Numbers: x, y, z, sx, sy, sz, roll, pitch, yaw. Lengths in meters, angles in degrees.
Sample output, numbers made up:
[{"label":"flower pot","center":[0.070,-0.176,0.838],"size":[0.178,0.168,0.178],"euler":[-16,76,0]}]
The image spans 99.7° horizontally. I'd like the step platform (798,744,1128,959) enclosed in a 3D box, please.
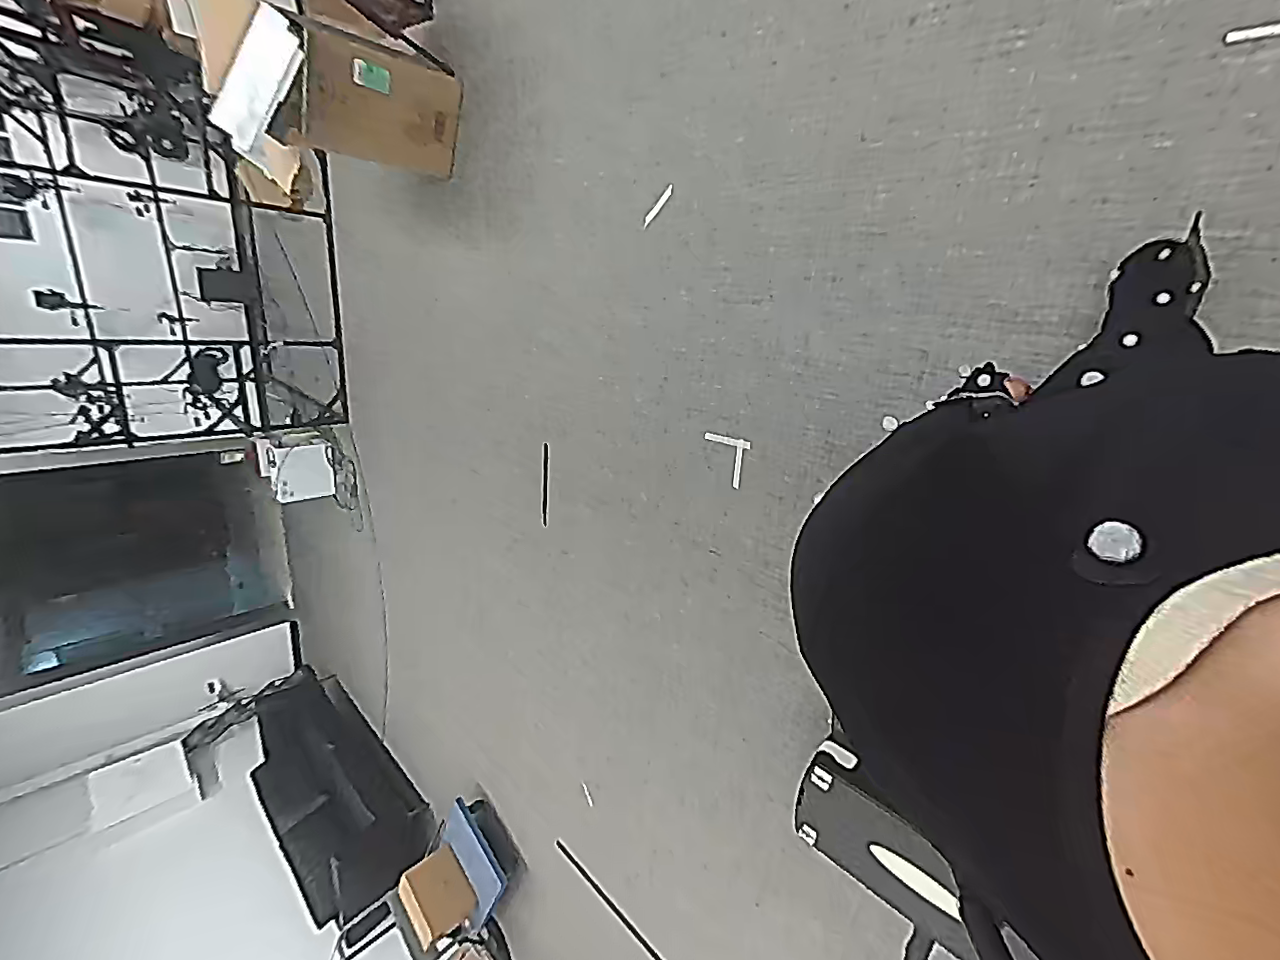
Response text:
[{"label":"step platform","center":[0.739,1.005,1.339],"size":[0.684,0.204,0.286],"euler":[28,117,40]}]
